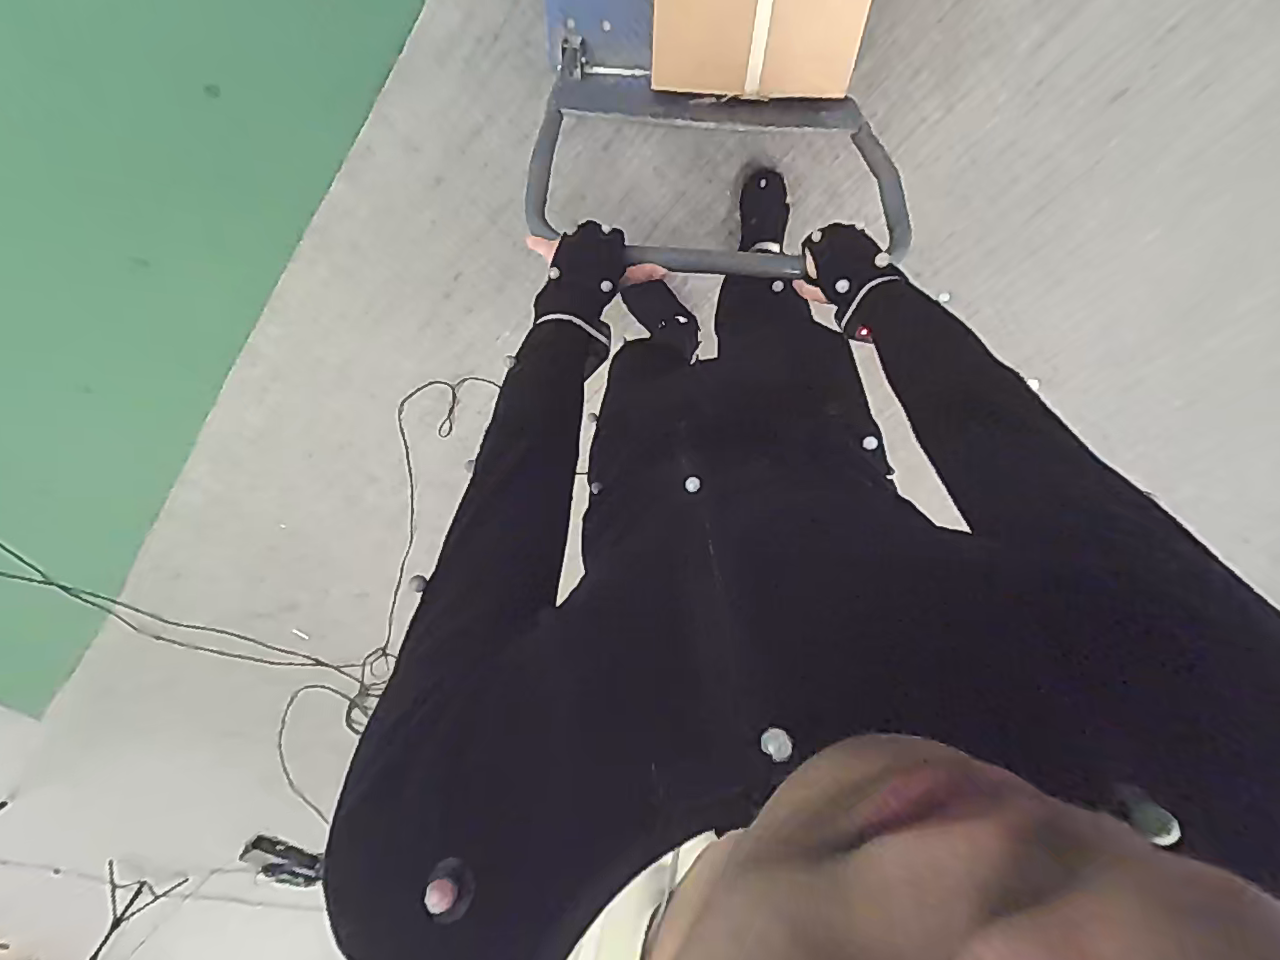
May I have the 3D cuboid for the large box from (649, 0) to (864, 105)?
[{"bbox_3d":[0.181,-0.861,0.840,0.320,0.320,0.408,3,137,-1],"label":"large box"}]
